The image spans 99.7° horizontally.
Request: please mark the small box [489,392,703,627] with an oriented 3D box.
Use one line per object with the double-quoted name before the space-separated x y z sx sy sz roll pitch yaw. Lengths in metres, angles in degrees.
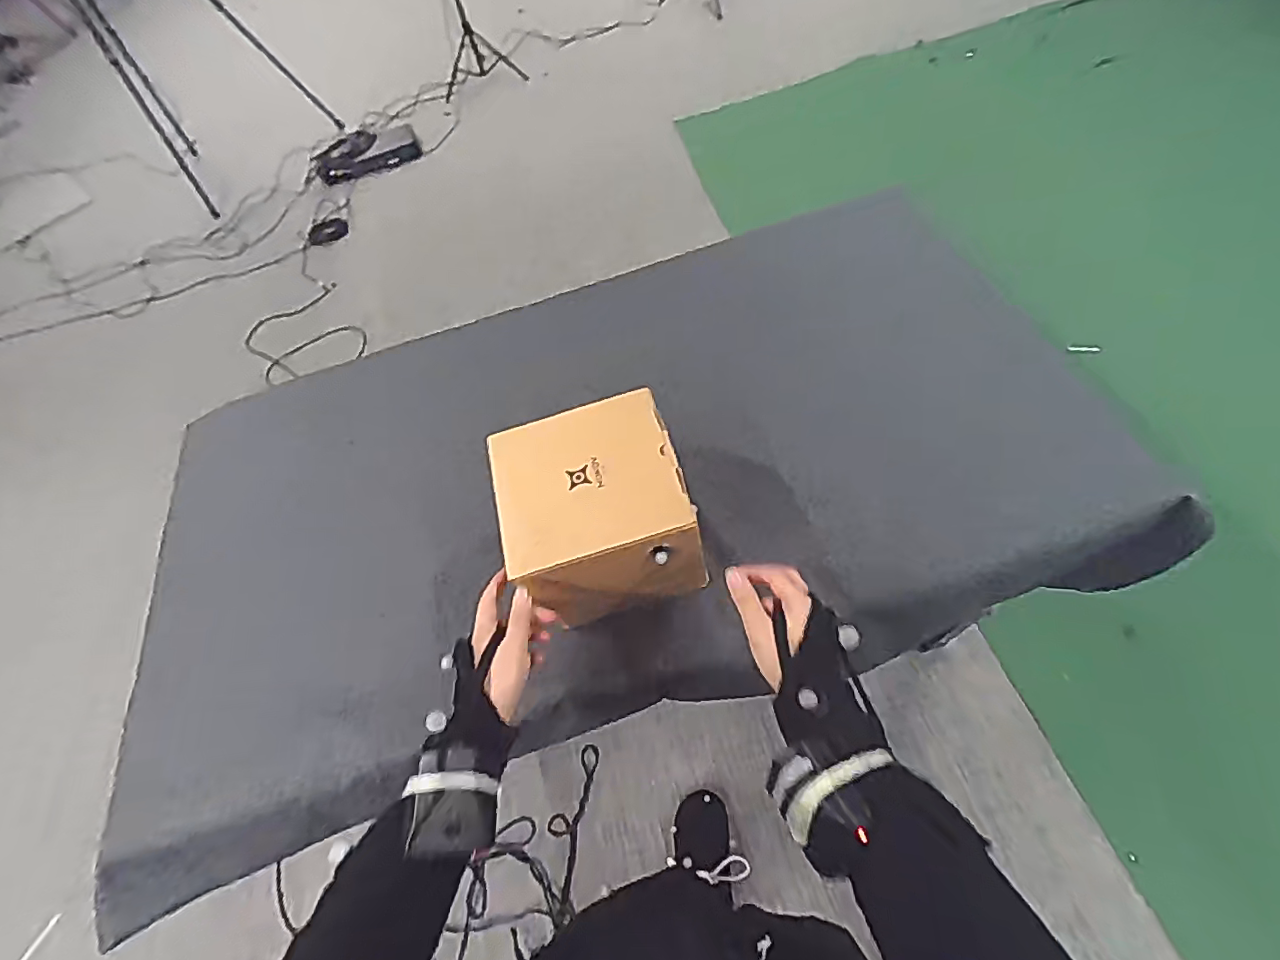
"small box" -0.041 0.040 0.581 0.179 0.176 0.168 -18 58 -1
